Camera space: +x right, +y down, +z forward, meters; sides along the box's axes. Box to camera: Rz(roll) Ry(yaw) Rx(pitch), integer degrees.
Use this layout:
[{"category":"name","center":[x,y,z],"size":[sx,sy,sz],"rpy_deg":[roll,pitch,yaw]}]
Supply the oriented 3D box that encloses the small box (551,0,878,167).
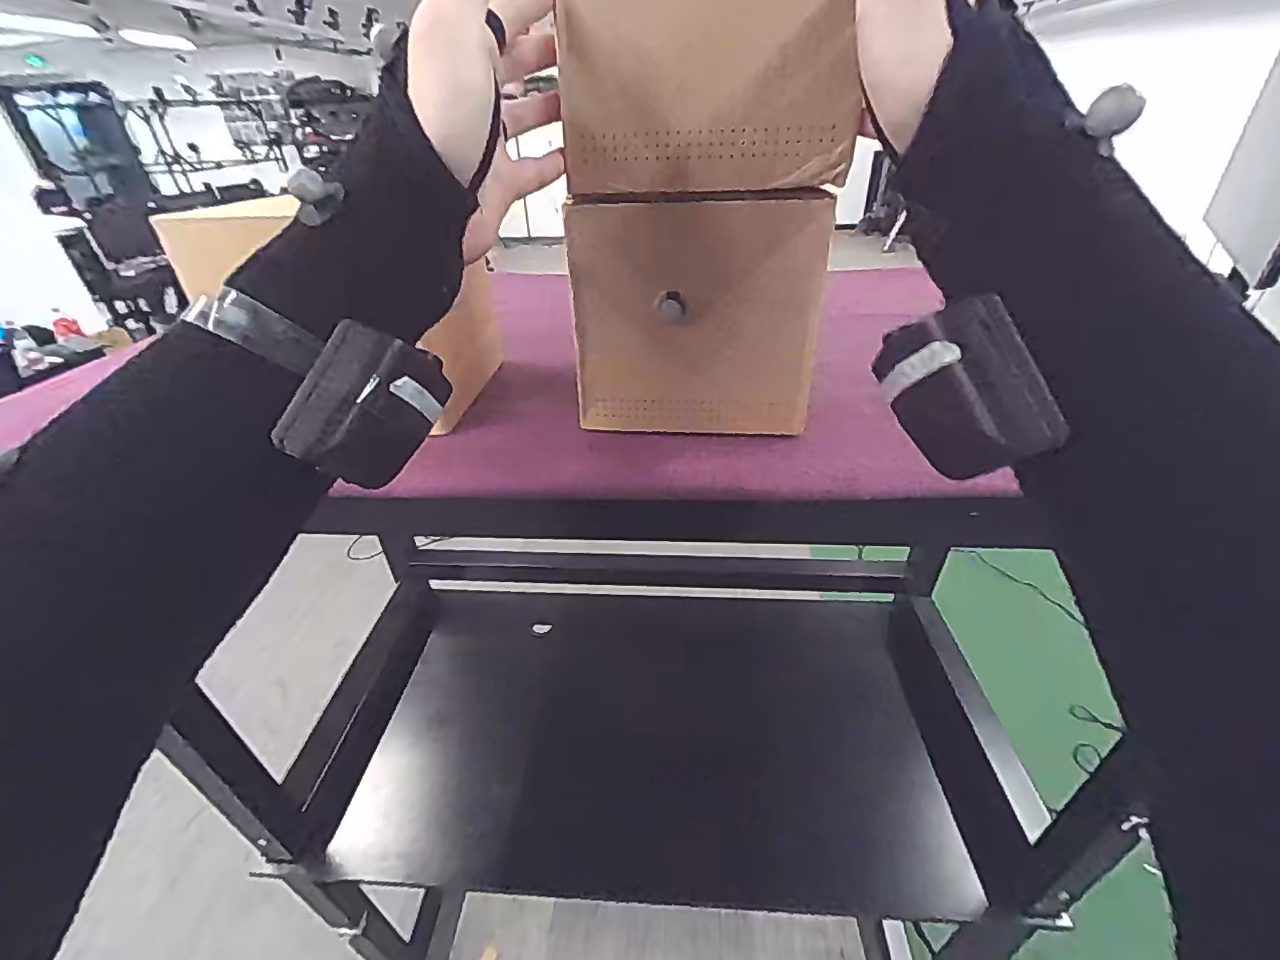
[{"category":"small box","center":[0.045,-0.293,0.335],"size":[0.179,0.176,0.168],"rpy_deg":[4,33,6]}]

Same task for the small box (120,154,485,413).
[{"category":"small box","center":[-0.240,-0.165,0.447],"size":[0.168,0.176,0.179],"rpy_deg":[2,33,3]}]
